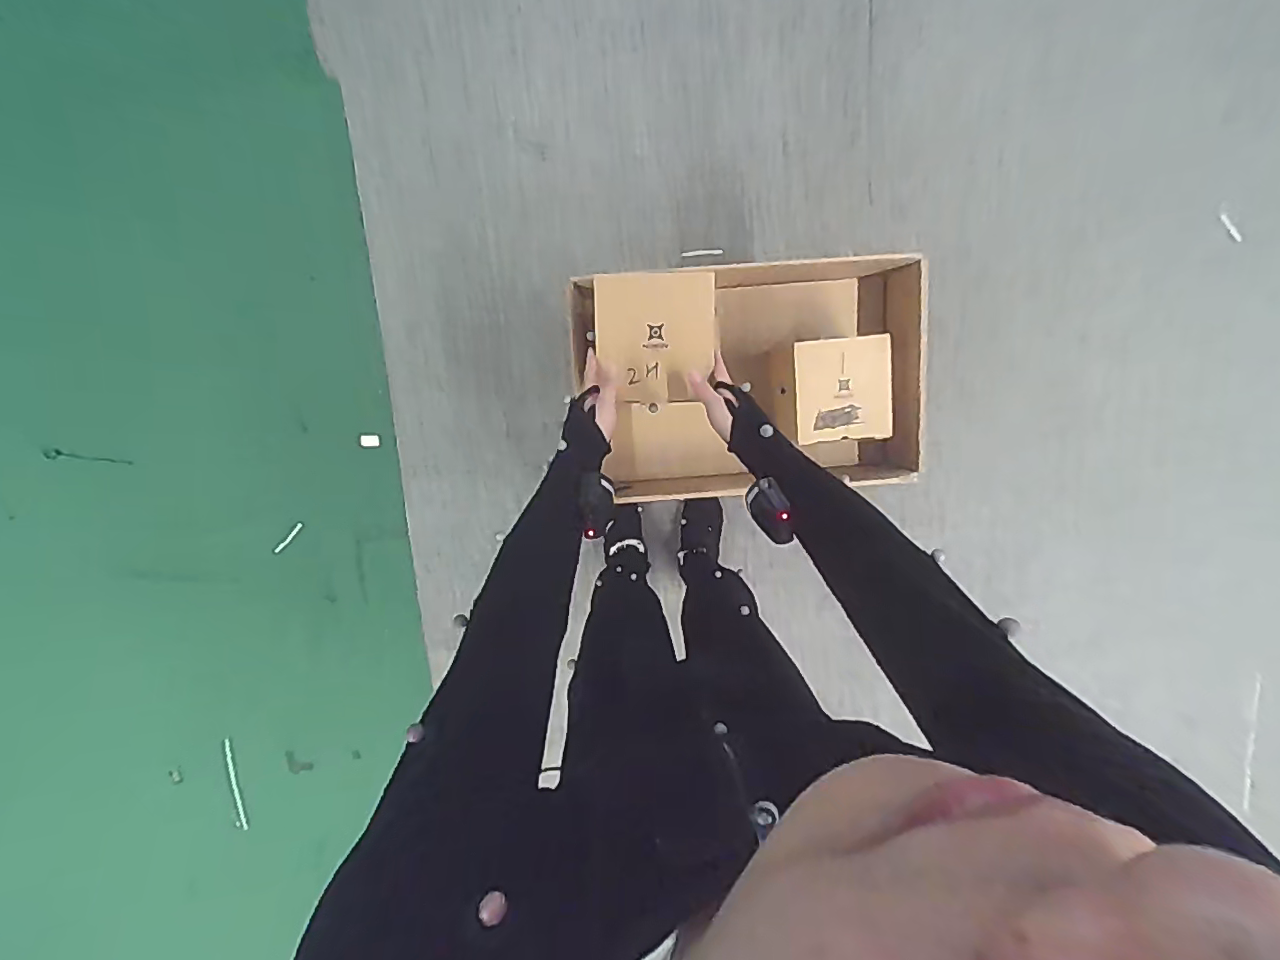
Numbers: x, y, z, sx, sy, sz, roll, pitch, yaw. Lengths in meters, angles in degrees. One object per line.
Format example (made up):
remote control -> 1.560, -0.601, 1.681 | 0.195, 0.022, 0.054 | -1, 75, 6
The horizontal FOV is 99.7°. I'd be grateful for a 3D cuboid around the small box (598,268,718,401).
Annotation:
small box -> 0.023, -0.210, 0.817 | 0.168, 0.176, 0.179 | 0, 99, 0
